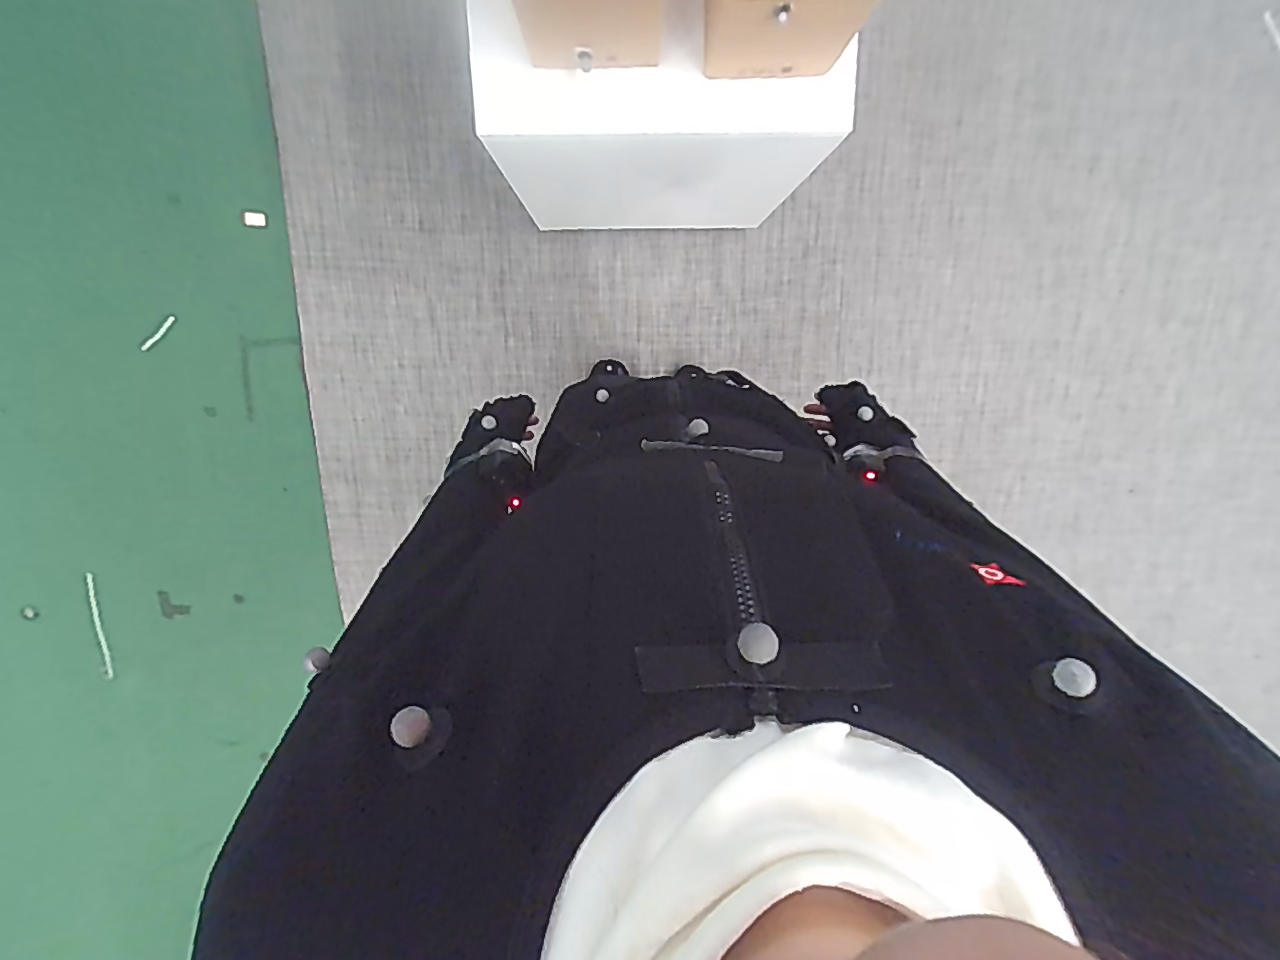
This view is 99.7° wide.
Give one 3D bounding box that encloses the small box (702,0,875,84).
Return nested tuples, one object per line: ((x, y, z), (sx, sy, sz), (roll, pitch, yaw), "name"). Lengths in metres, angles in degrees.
((0.163, -0.598, 0.622), (0.168, 0.176, 0.179), (-1, 101, -1), "small box")

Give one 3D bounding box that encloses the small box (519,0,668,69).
((-0.056, -0.602, 0.603), (0.168, 0.176, 0.179), (-3, 103, 0), "small box")
